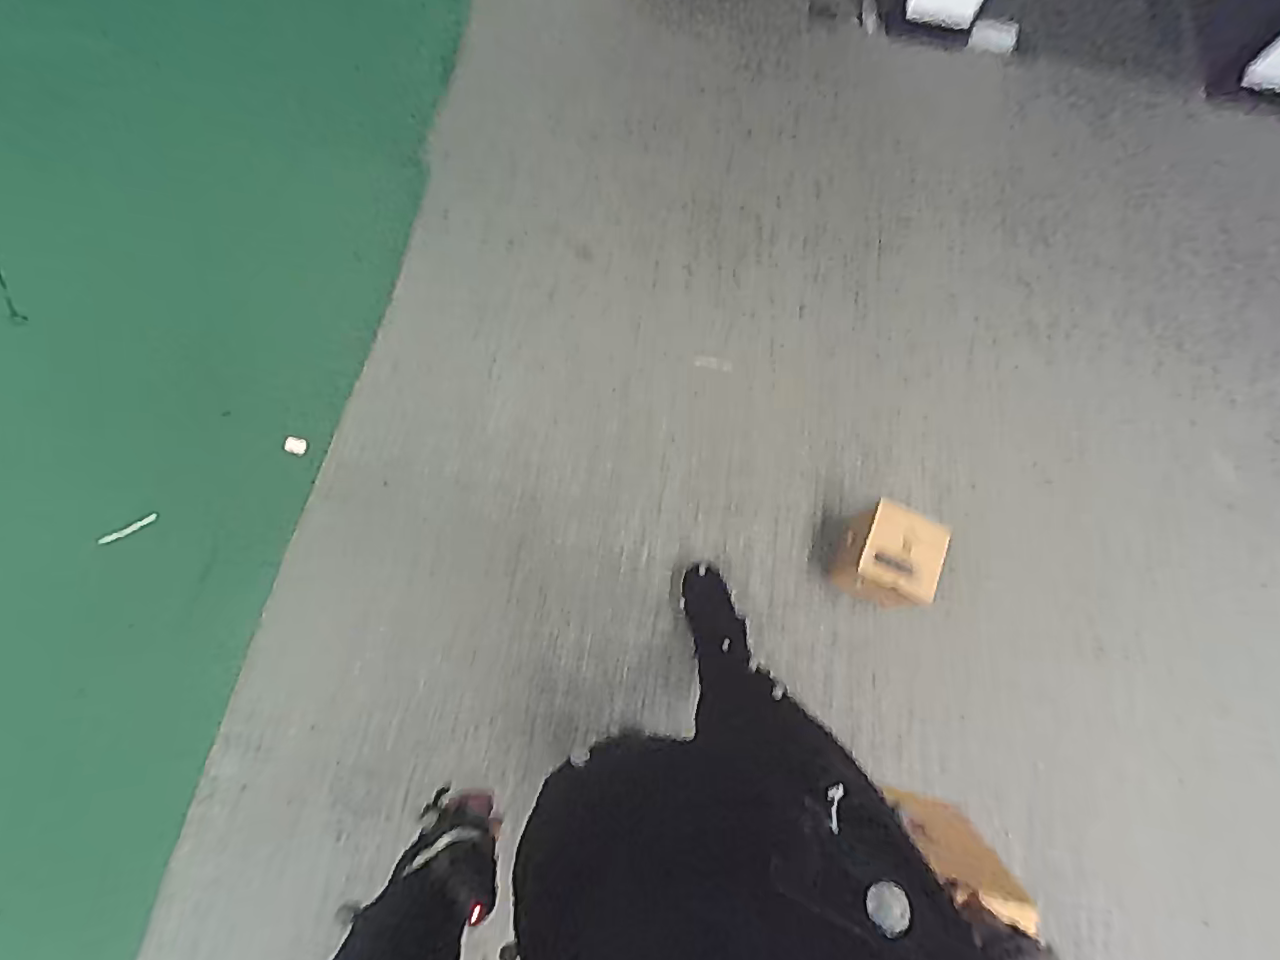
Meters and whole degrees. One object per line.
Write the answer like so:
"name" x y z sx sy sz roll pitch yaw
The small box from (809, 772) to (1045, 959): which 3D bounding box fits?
"small box" 0.303 0.478 0.613 0.168 0.179 0.176 13 92 6
